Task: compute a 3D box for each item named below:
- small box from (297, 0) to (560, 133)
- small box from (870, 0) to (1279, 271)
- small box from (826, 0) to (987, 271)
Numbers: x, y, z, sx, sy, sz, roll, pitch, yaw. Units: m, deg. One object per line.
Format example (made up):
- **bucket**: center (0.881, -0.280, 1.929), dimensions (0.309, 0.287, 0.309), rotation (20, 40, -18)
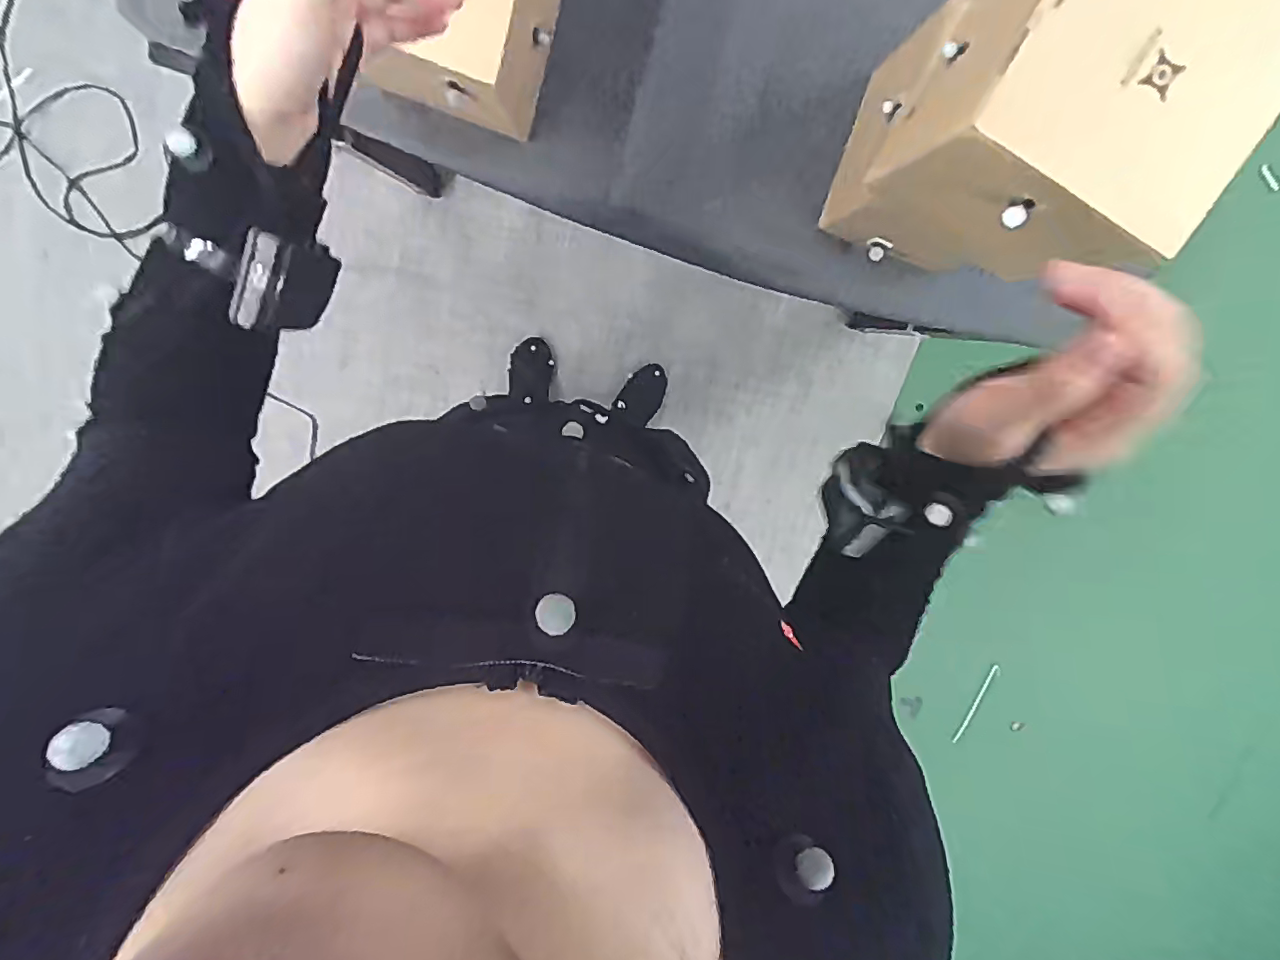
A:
- **small box**: center (-0.182, -0.464, 0.516), dimensions (0.179, 0.176, 0.168), rotation (17, 106, -7)
- **small box**: center (0.321, -0.278, 0.416), dimensions (0.179, 0.176, 0.168), rotation (27, 104, -8)
- **small box**: center (0.321, -0.337, 0.569), dimensions (0.168, 0.176, 0.179), rotation (16, 106, -5)
